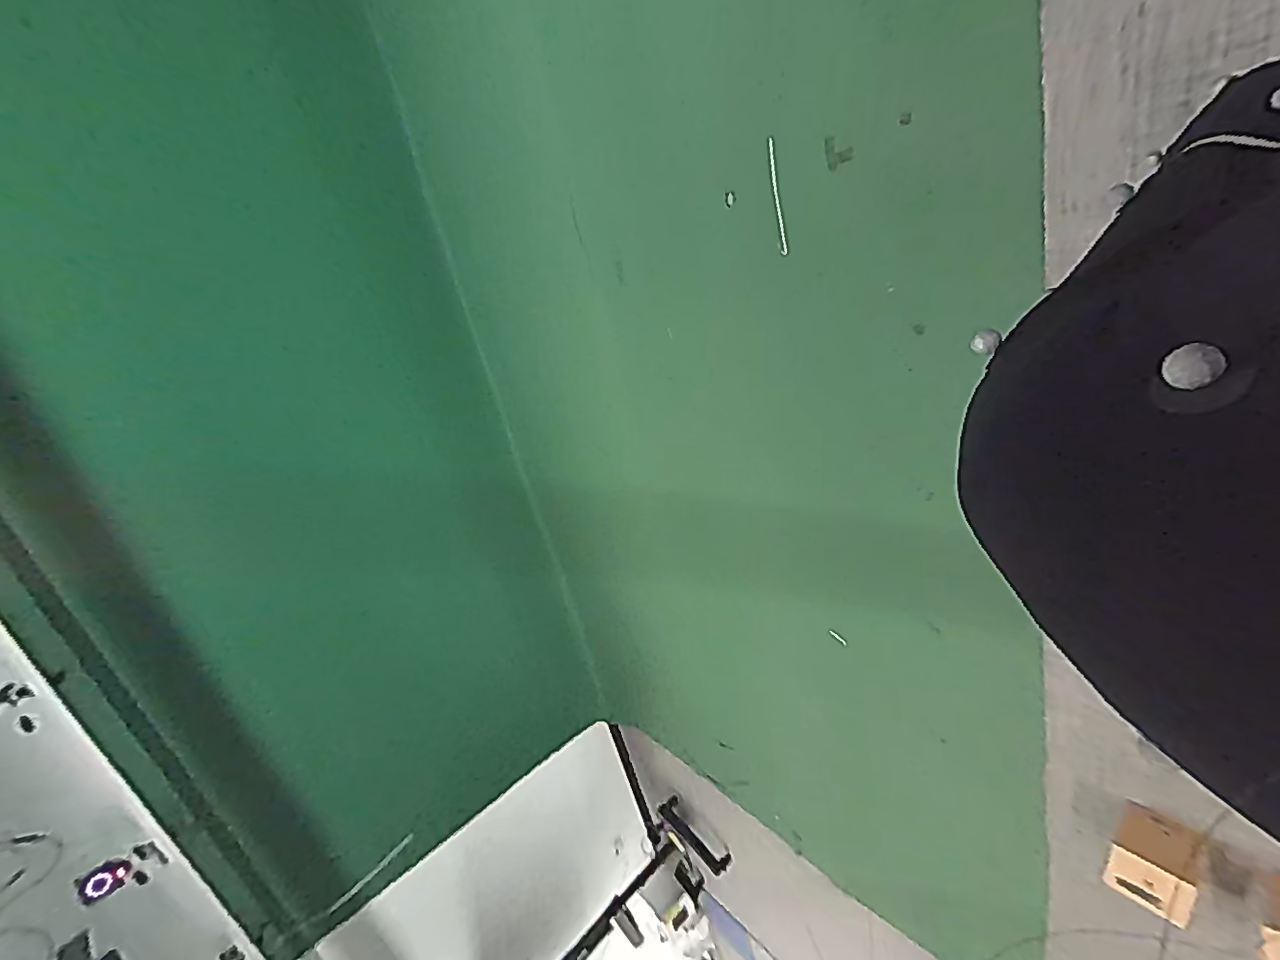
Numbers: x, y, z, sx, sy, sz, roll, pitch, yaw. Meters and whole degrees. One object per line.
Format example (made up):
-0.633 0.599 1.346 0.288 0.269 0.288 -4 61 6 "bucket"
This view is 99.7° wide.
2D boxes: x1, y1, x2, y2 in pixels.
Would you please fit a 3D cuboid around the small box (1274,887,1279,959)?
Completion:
1.576 1.065 1.225 0.168 0.176 0.179 -2 112 56 "small box"
